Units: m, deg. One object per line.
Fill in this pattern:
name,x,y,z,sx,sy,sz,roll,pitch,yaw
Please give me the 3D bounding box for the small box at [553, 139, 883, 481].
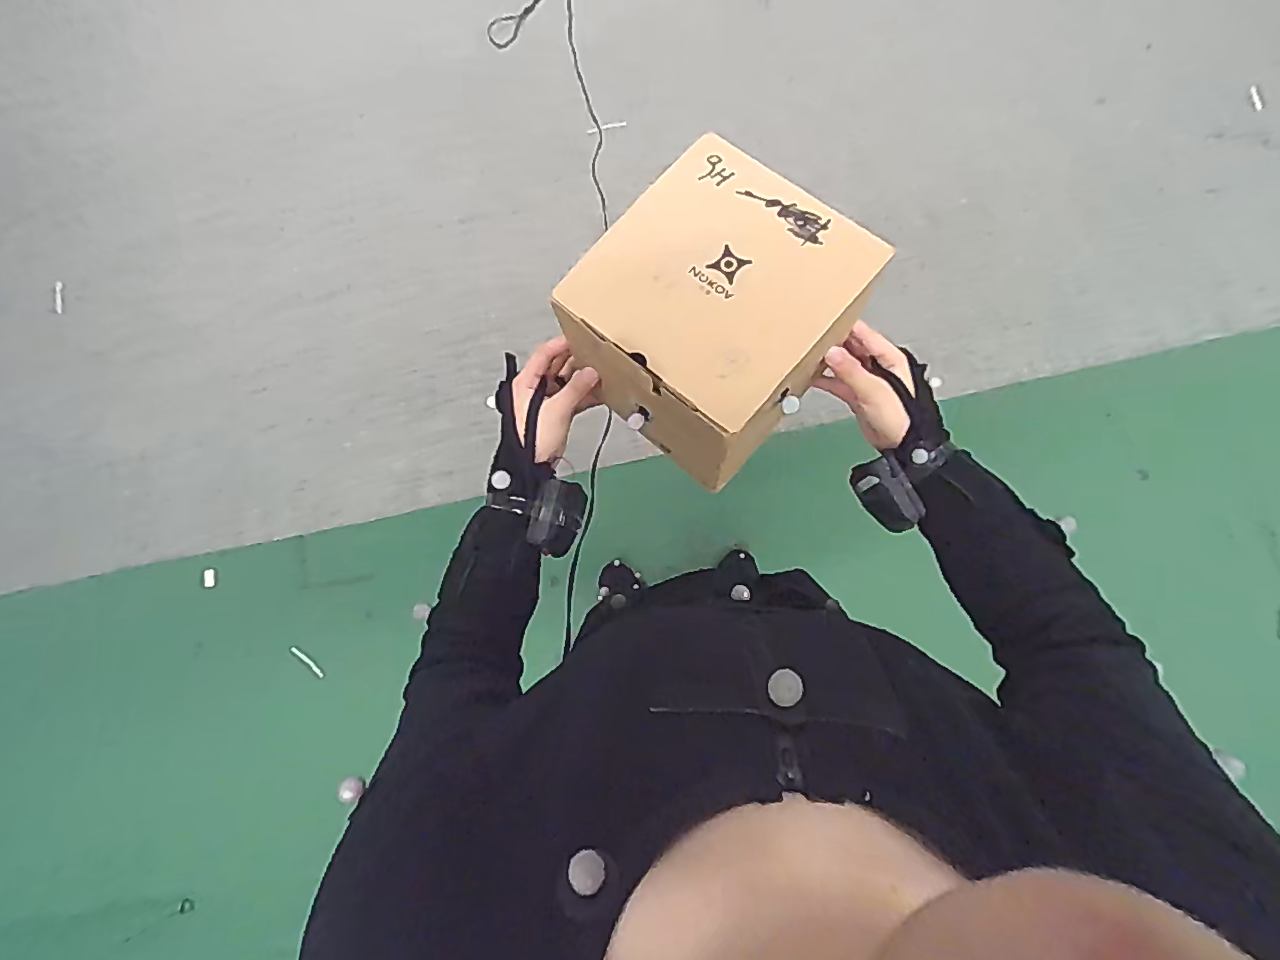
small box,0.060,-0.122,0.453,0.168,0.176,0.179,40,83,13
